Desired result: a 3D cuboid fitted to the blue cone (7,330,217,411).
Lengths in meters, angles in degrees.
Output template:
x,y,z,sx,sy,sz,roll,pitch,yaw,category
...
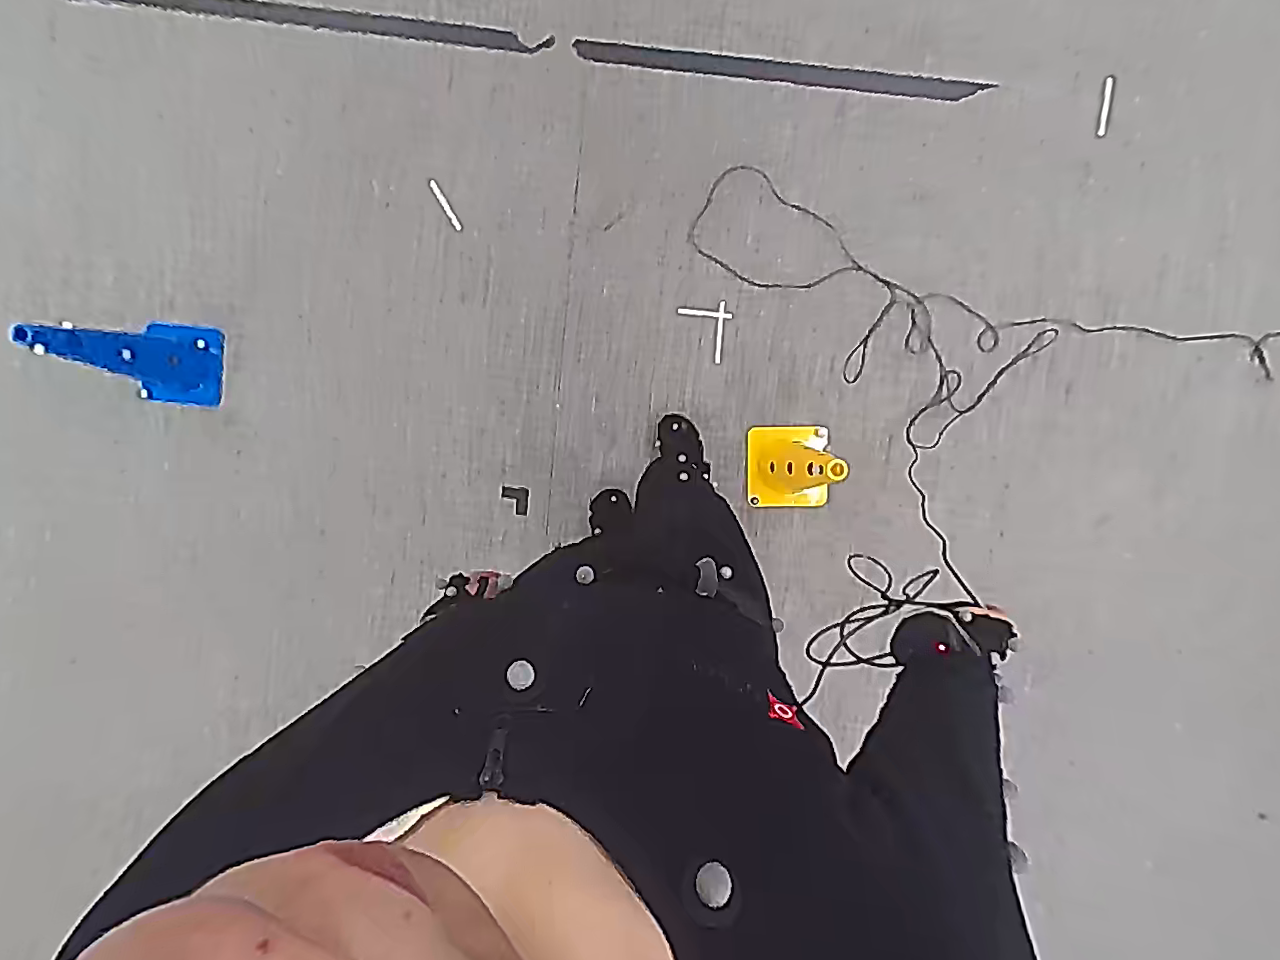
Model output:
x,y,z,sx,sy,sz,roll,pitch,yaw,category
-1.155,-0.263,1.187,0.193,0.380,0.192,7,94,1,blue cone
